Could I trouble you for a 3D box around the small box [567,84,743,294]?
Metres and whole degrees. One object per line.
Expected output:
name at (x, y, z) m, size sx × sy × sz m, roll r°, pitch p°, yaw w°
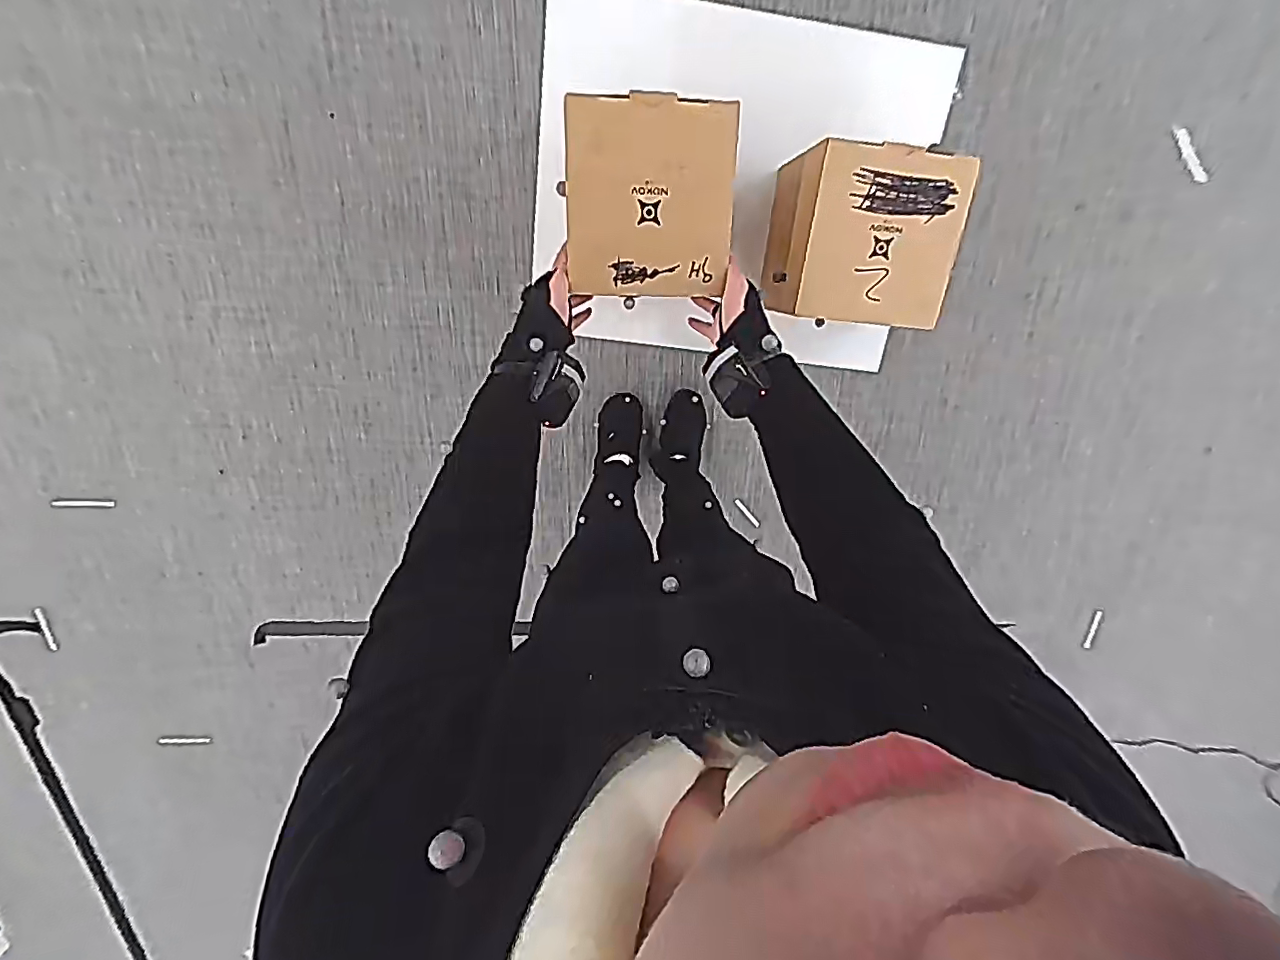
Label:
small box at (0.006, -0.302, 0.595) m, size 0.168 × 0.176 × 0.179 m, roll 0°, pitch 112°, yaw -4°
